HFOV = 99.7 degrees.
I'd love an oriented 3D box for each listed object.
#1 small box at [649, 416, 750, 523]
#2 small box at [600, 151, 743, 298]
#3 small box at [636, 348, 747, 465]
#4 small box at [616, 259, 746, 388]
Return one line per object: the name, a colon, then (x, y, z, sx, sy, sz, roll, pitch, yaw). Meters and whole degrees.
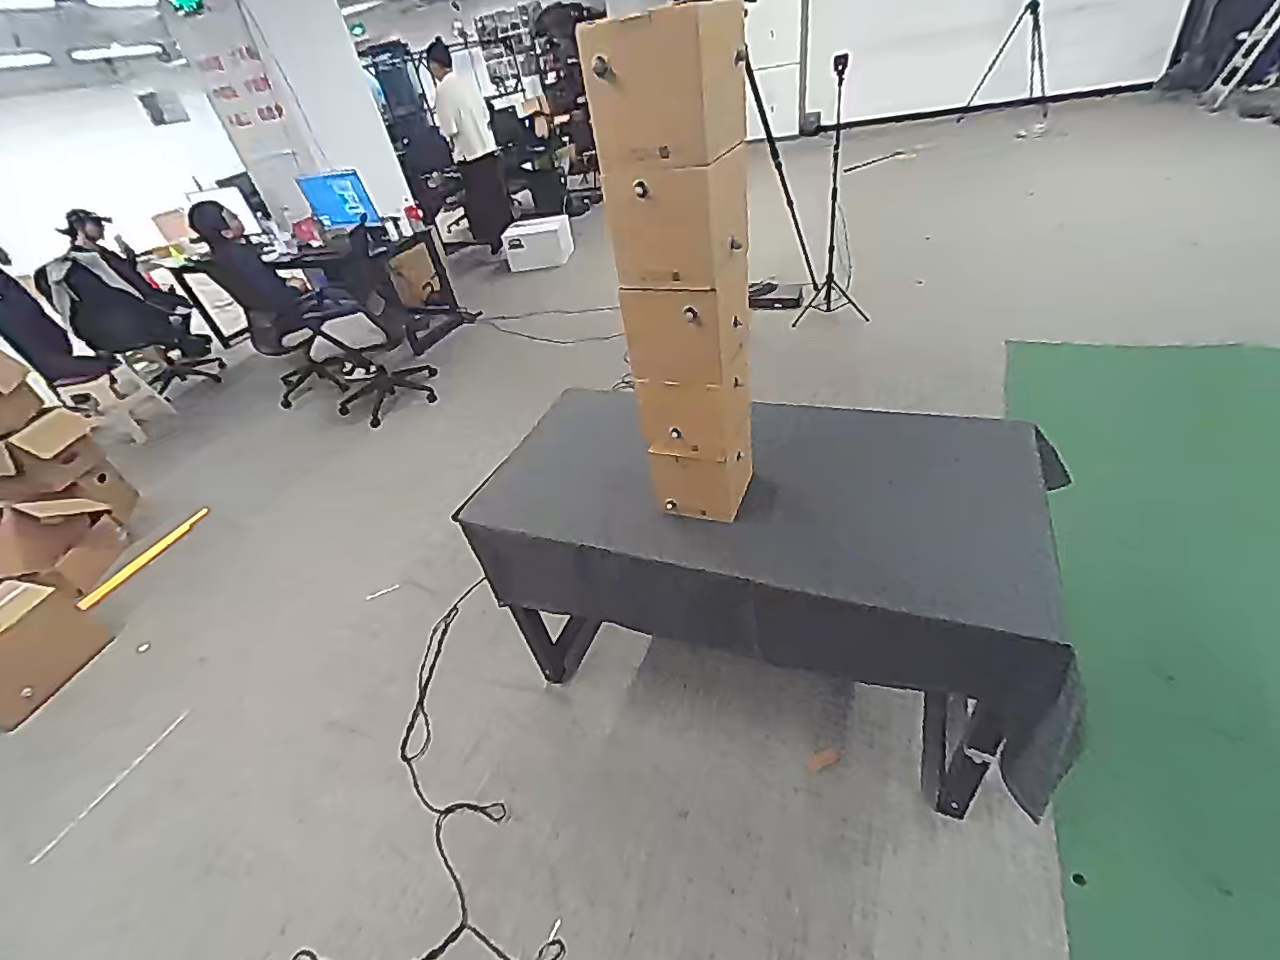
small box: (0.136, -0.028, 1.163, 0.168, 0.176, 0.179, 8, 41, 24)
small box: (0.060, -0.403, 0.857, 0.168, 0.176, 0.179, 10, 43, 26)
small box: (0.110, -0.153, 1.063, 0.168, 0.176, 0.179, 8, 42, 24)
small box: (0.083, -0.278, 0.959, 0.179, 0.176, 0.168, 9, 43, 25)
